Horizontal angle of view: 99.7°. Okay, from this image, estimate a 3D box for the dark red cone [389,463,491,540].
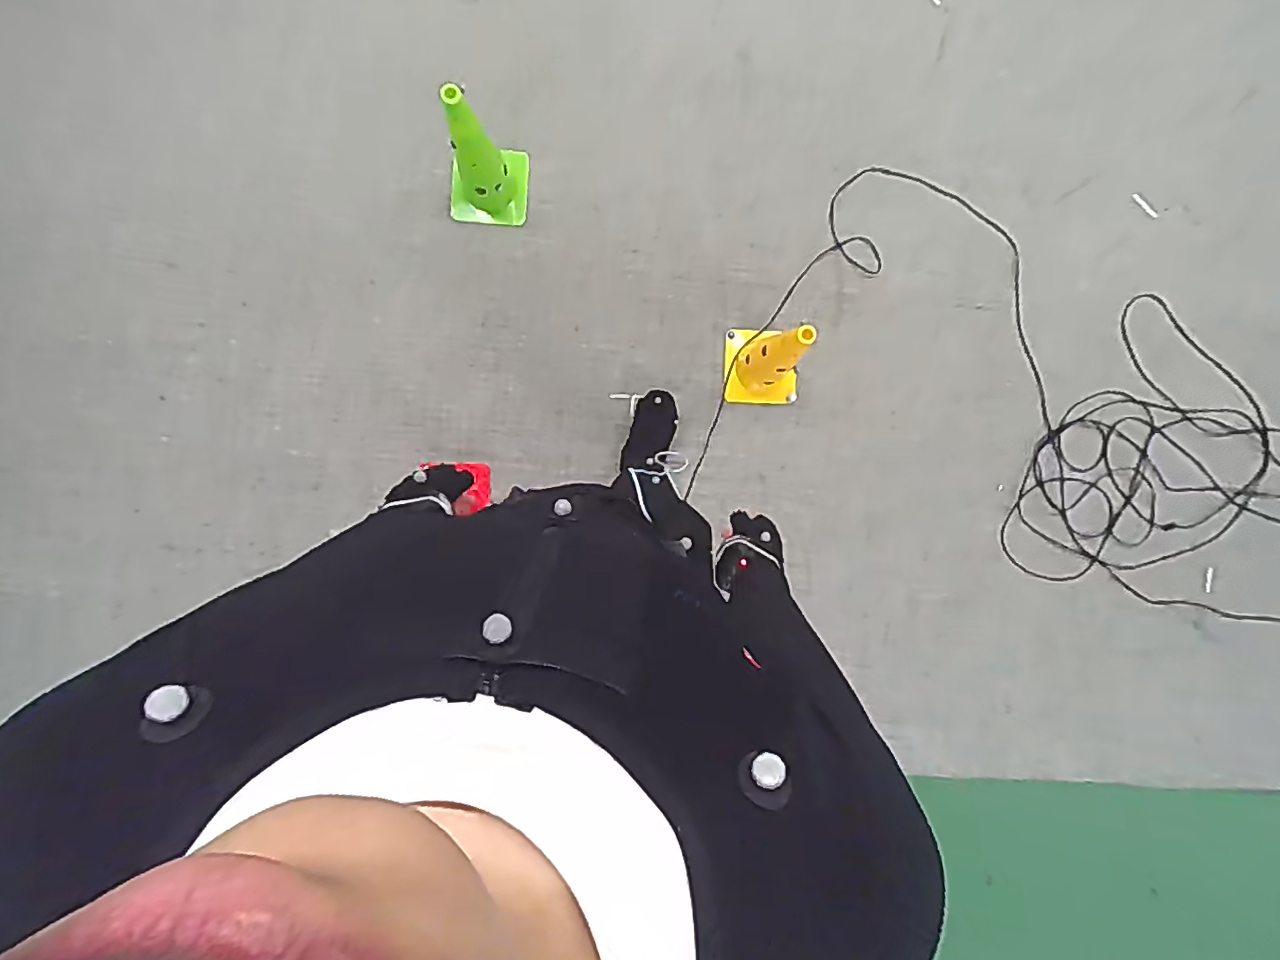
[{"bbox_3d":[-0.487,0.062,1.256,0.202,0.394,0.201,-1,92,-3],"label":"dark red cone"}]

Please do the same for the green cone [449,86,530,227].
[{"bbox_3d":[-0.386,-0.779,1.275,0.202,0.368,0.200,3,91,-4],"label":"green cone"}]
